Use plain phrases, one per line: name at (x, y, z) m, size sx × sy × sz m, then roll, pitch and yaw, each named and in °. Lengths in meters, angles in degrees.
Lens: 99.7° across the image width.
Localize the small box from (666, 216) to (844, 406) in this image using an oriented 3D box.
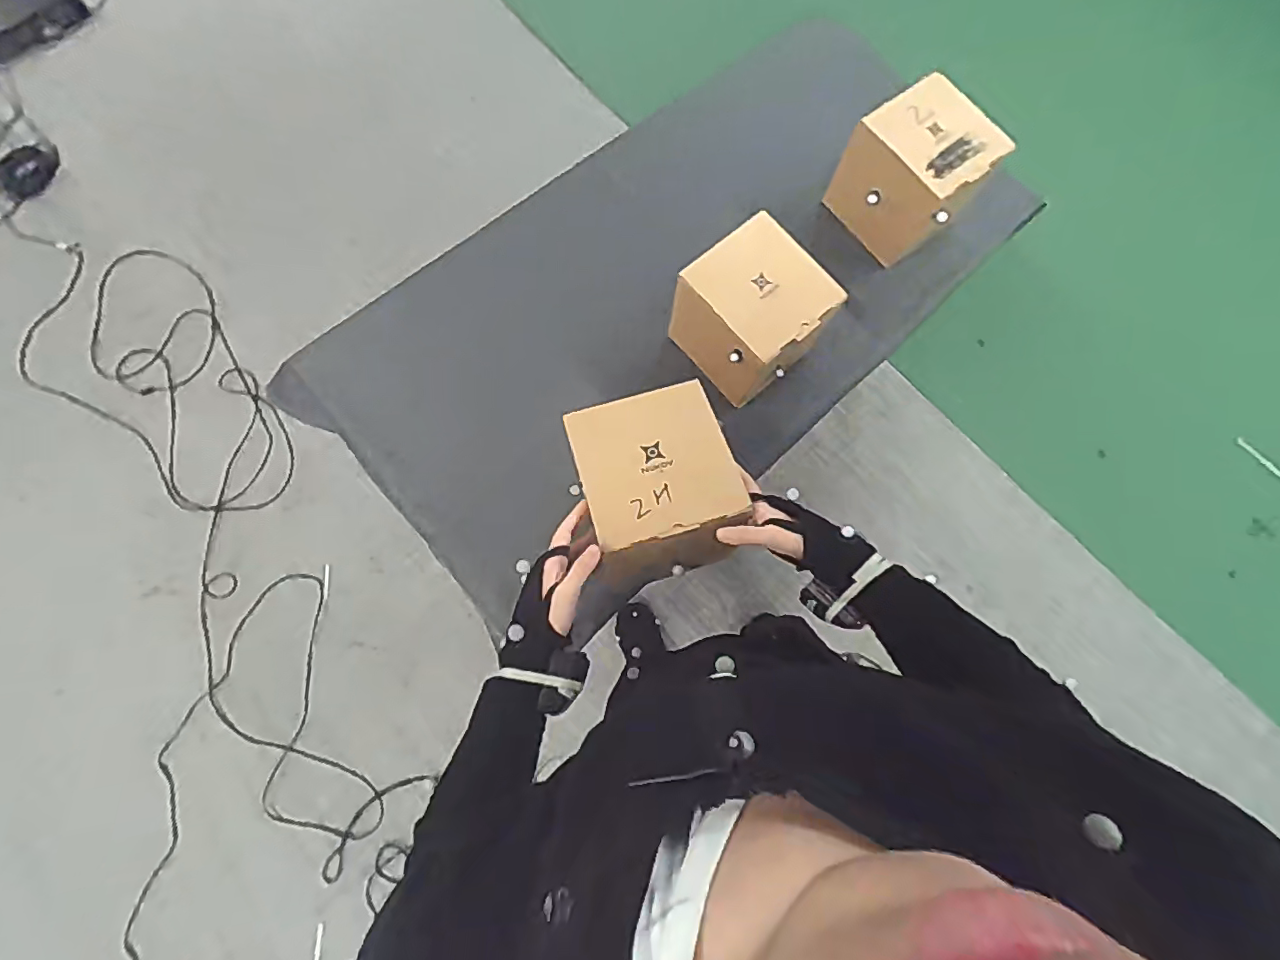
small box at (0.158, -0.242, 0.812) m, size 0.168 × 0.176 × 0.179 m, roll -40°, pitch 83°, yaw -12°

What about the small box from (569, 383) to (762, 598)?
small box at (0.021, 0.018, 0.639) m, size 0.168 × 0.176 × 0.179 m, roll -16°, pitch 64°, yaw -8°
